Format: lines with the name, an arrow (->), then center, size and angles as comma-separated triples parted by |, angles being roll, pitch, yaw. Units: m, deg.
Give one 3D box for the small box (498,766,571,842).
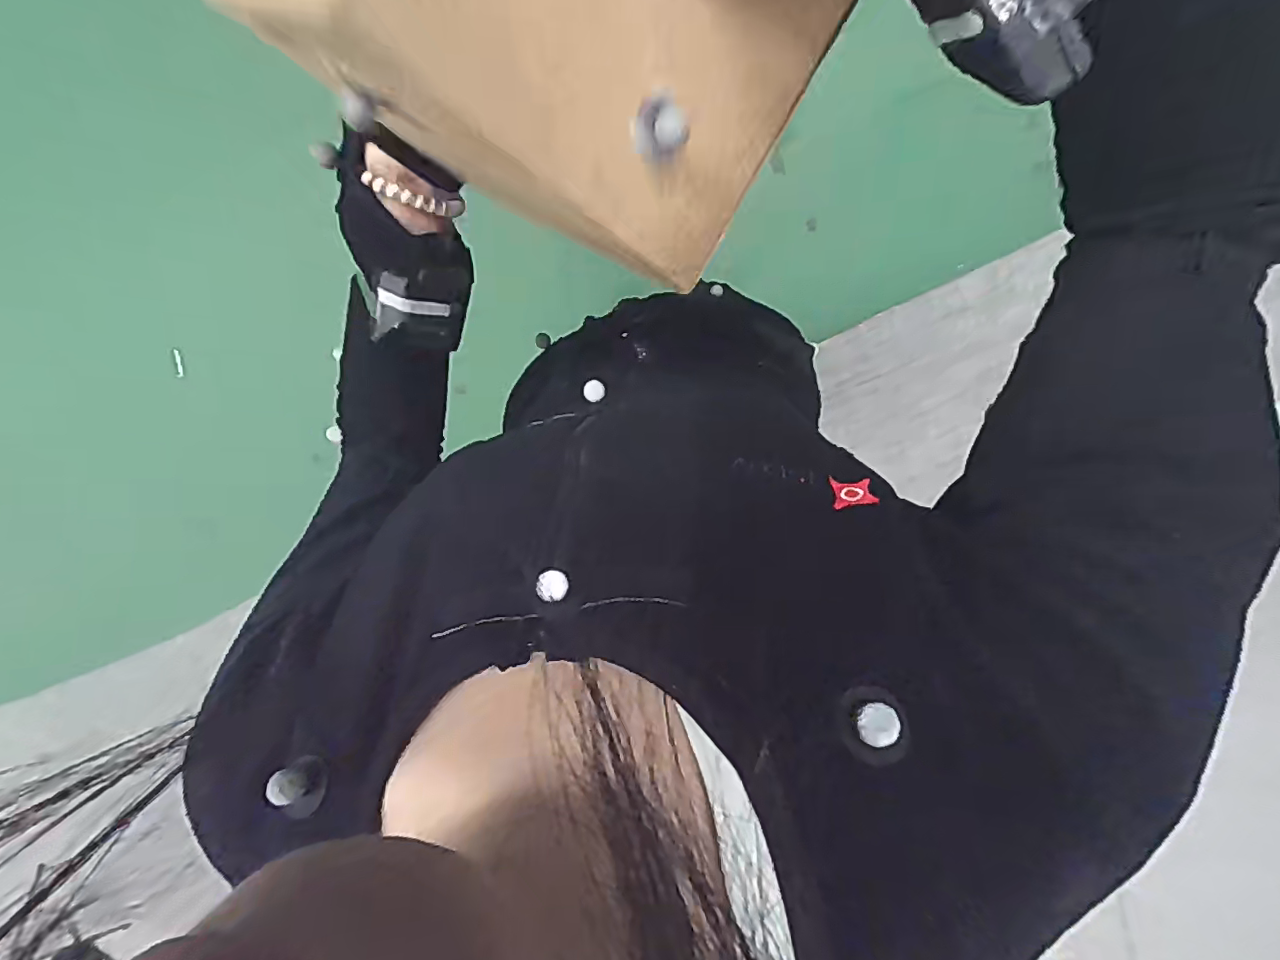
small box -> -0.350, 1.113, 1.837 | 0.179, 0.176, 0.168 | -28, 105, 13
